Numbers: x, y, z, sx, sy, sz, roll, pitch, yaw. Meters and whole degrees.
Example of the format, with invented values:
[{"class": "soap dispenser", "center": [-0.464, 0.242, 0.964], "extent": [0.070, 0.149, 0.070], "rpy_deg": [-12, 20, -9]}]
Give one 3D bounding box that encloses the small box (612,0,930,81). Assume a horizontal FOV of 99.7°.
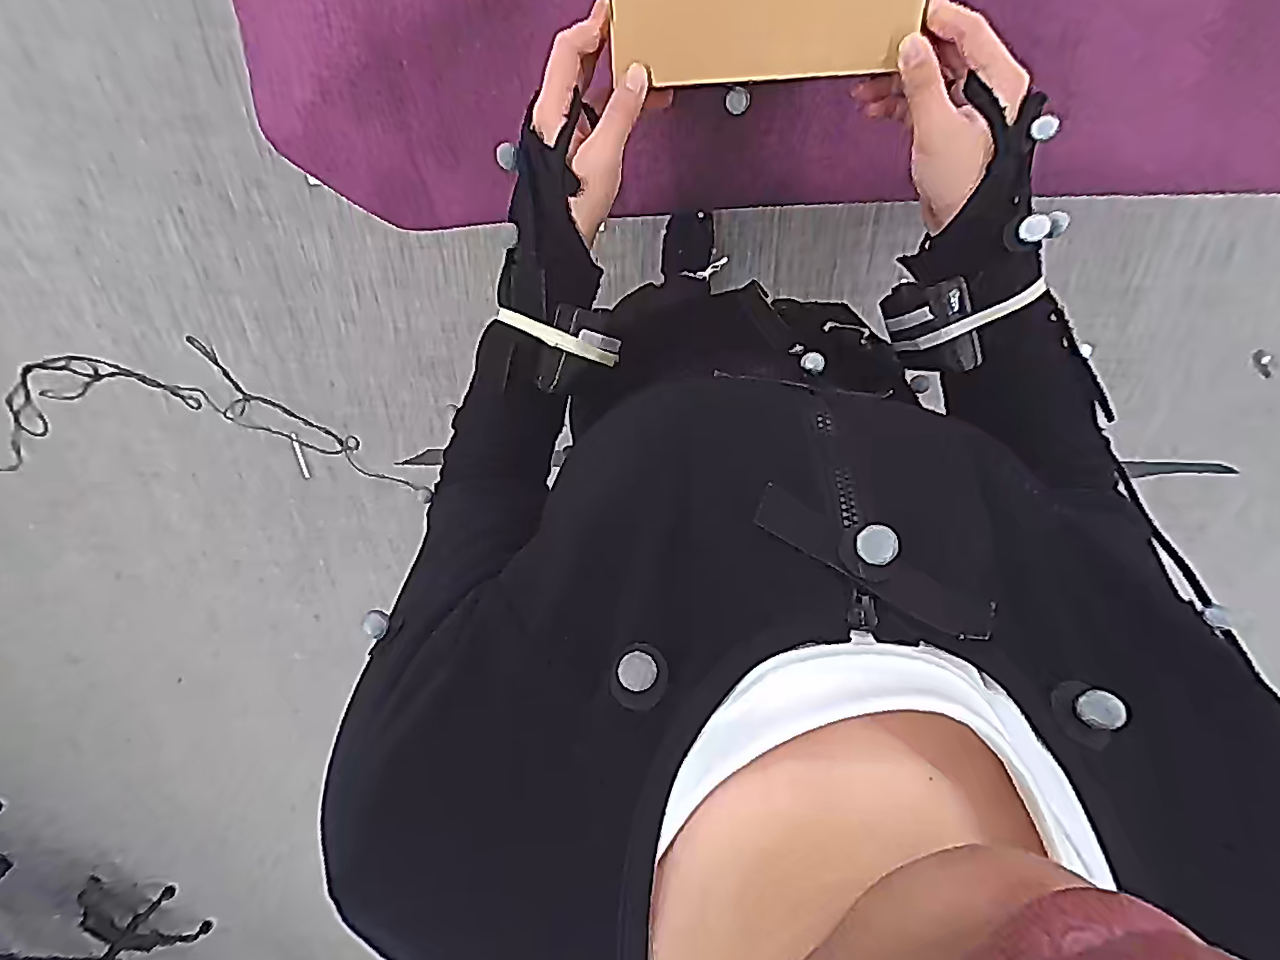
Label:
[{"class": "small box", "center": [0.070, -0.350, 0.326], "extent": [0.179, 0.176, 0.168], "rpy_deg": [-1, 127, 3]}]
